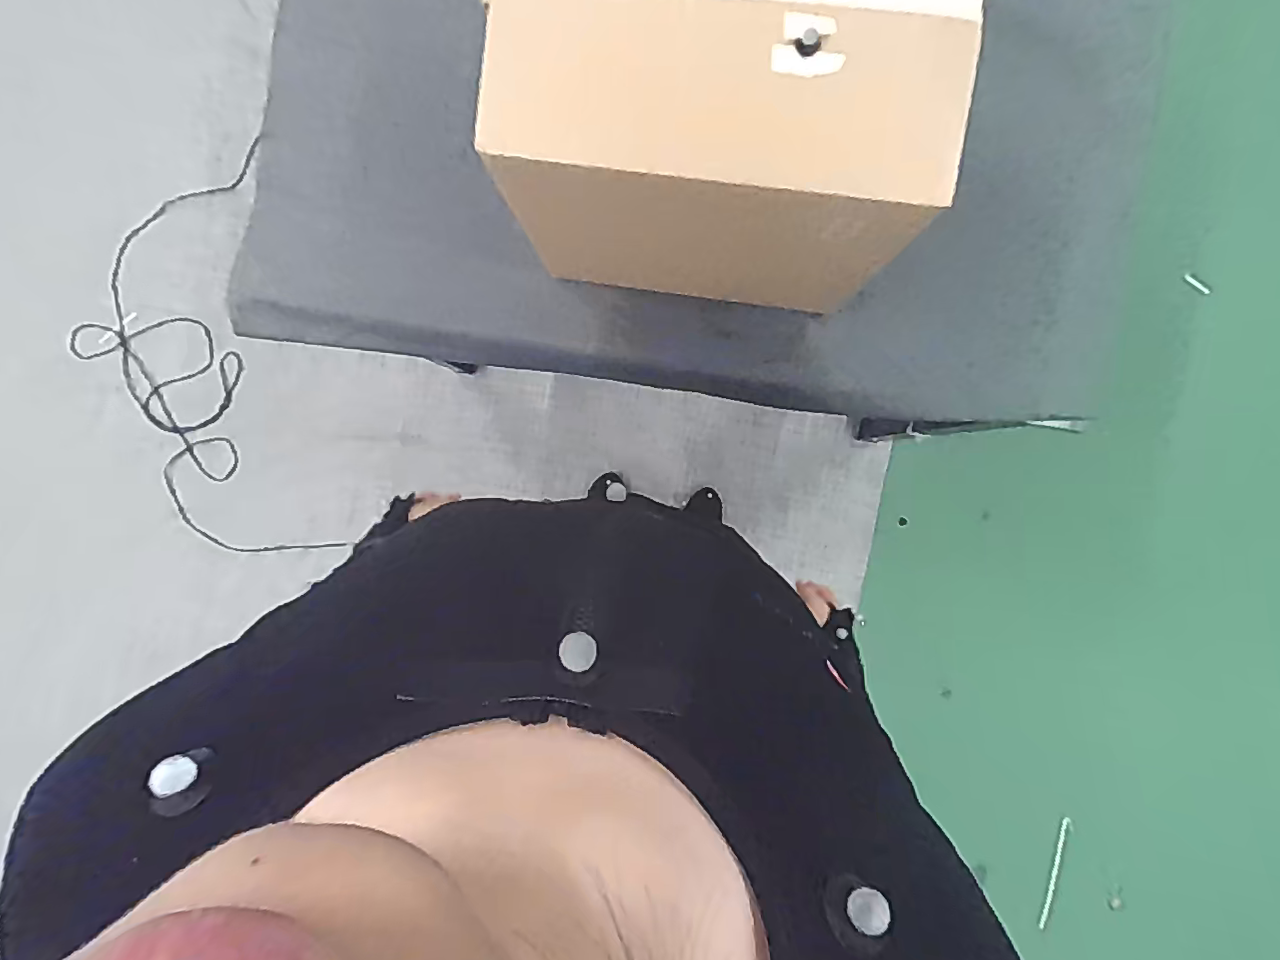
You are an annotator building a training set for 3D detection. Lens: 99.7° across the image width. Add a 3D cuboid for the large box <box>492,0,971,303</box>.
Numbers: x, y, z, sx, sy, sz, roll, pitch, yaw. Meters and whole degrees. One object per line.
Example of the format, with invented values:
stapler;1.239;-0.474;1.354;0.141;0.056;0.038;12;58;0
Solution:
large box;0.086;-0.417;0.612;0.408;0.320;0.320;8;92;2
